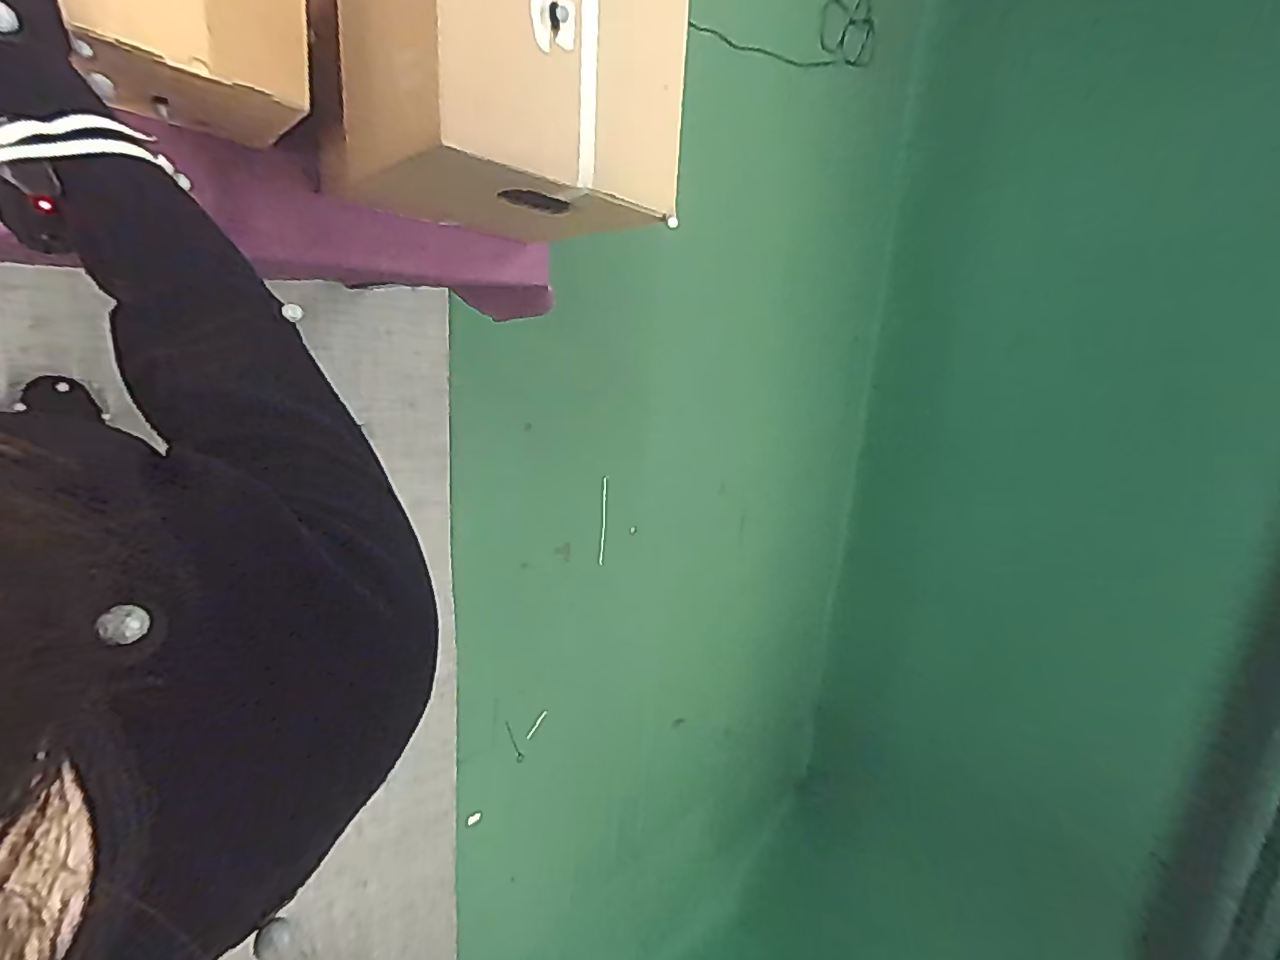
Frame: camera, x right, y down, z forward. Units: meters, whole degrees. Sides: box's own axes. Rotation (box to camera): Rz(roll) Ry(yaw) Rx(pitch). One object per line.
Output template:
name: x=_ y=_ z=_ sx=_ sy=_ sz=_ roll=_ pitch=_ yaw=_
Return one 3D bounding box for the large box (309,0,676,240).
large box: x=-0.171 y=-0.535 z=0.637 sx=0.320 sy=0.320 sz=0.408 roll=-11 pitch=110 yaw=-46
